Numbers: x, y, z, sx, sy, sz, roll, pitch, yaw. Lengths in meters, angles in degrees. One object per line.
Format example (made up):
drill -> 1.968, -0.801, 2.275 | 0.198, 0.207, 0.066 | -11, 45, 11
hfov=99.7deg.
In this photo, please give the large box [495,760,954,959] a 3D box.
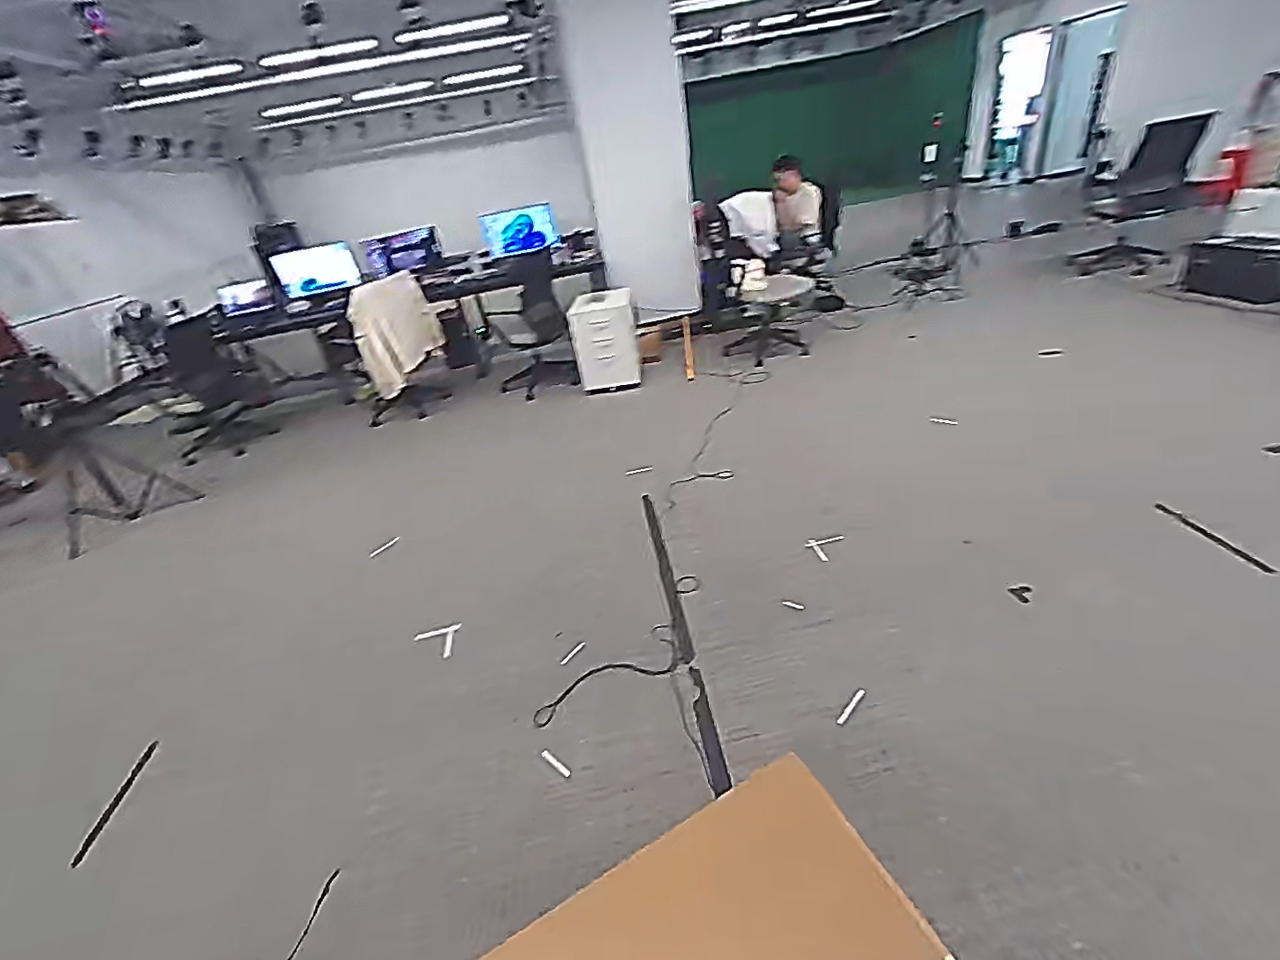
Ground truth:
large box -> 0.048, 0.497, 0.369 | 0.408, 0.320, 0.320 | -24, 42, -16
